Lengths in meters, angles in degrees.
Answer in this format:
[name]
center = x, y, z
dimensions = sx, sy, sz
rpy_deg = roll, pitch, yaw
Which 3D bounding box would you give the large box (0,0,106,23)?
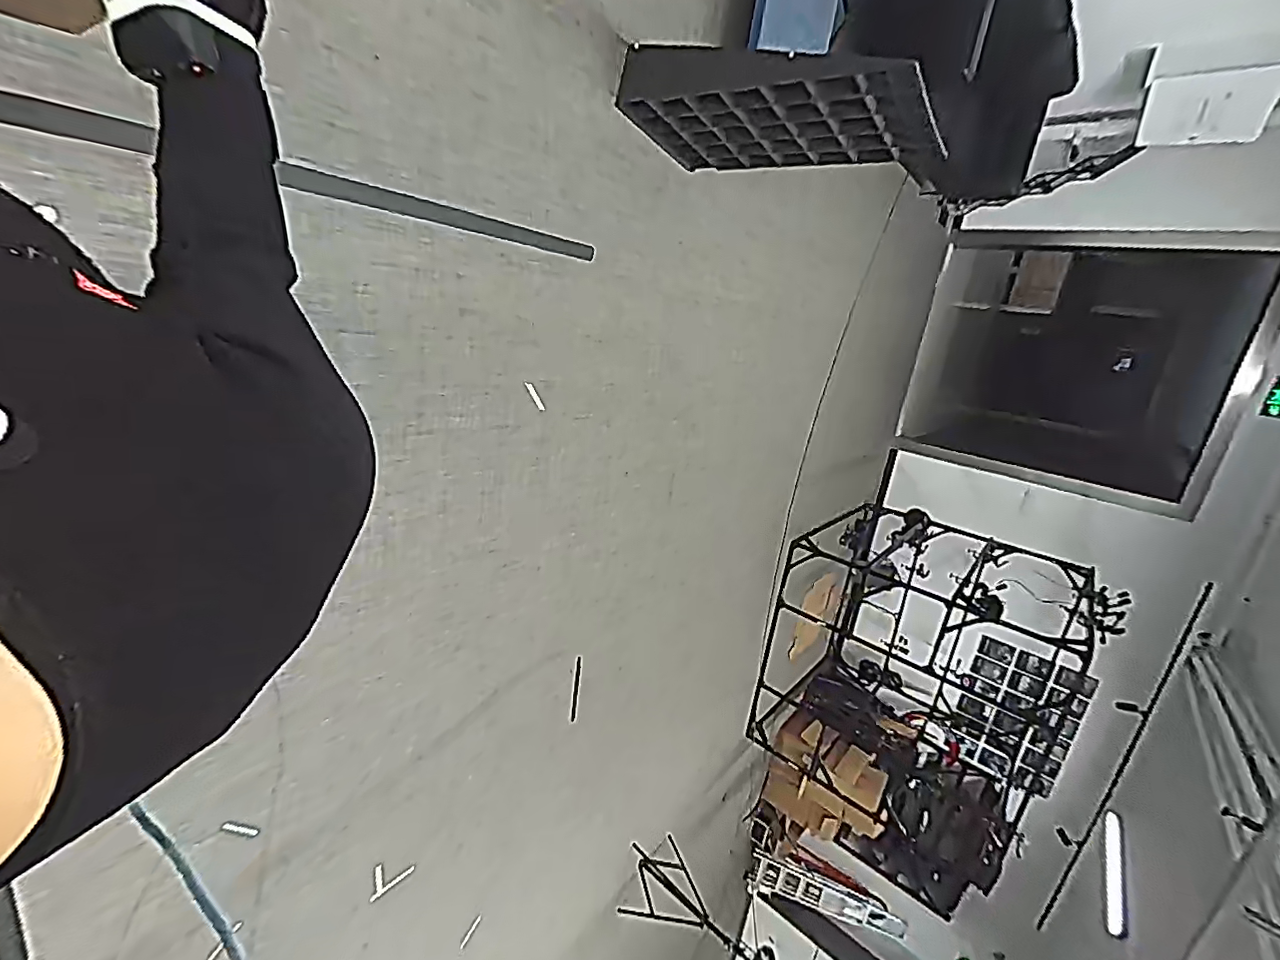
[large box]
center = -0.547, -0.492, 0.248
dimensions = 0.408, 0.320, 0.320
rpy_deg = -19, 126, -50
